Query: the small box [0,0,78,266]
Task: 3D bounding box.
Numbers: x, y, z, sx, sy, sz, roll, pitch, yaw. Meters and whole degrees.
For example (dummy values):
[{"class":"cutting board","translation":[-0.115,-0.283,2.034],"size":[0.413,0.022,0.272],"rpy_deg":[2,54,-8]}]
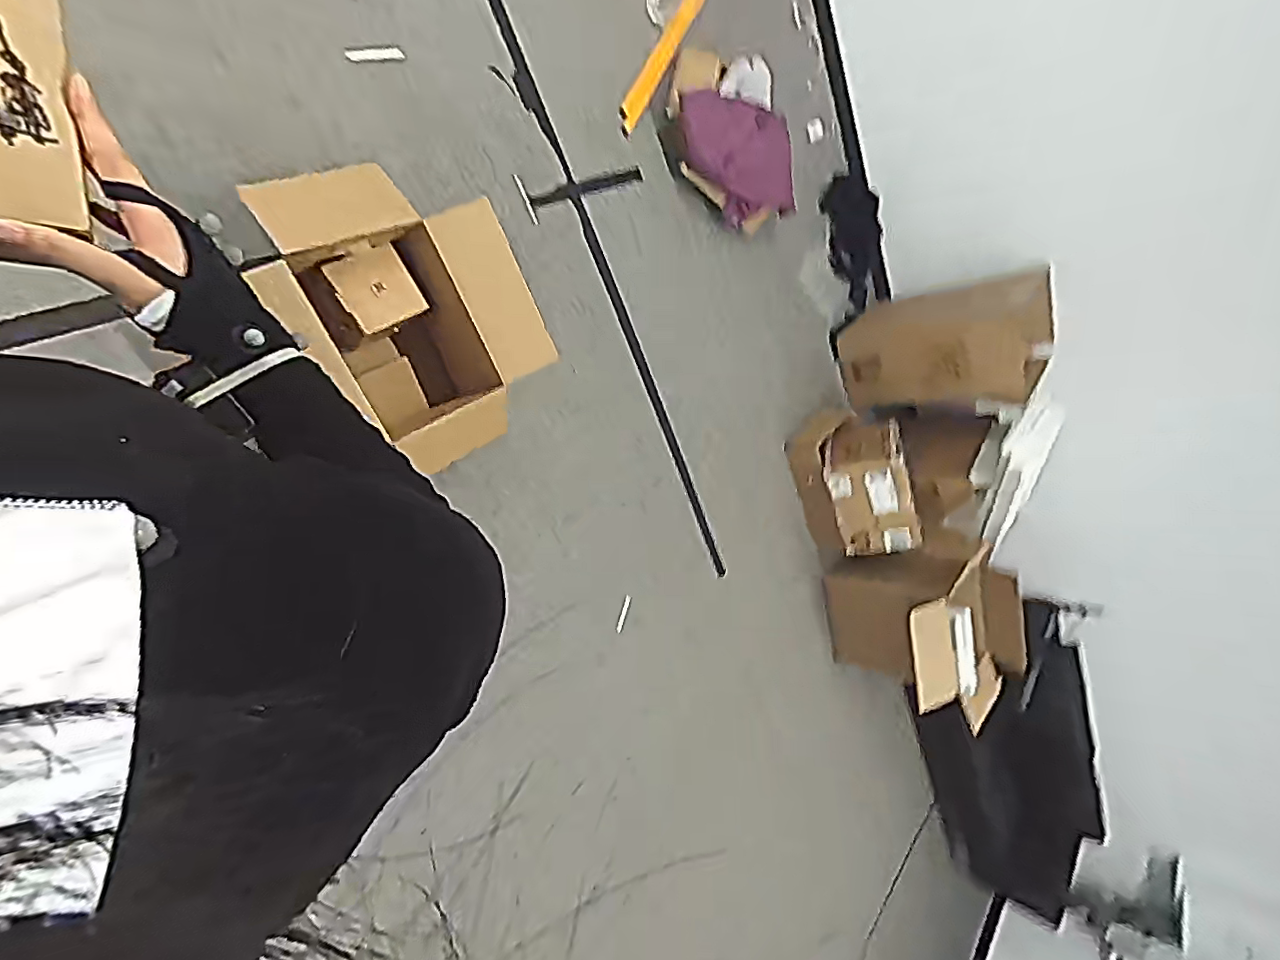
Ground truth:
[{"class":"small box","translation":[-0.473,-0.235,0.319],"size":[0.179,0.176,0.168],"rpy_deg":[-8,103,-43]}]
